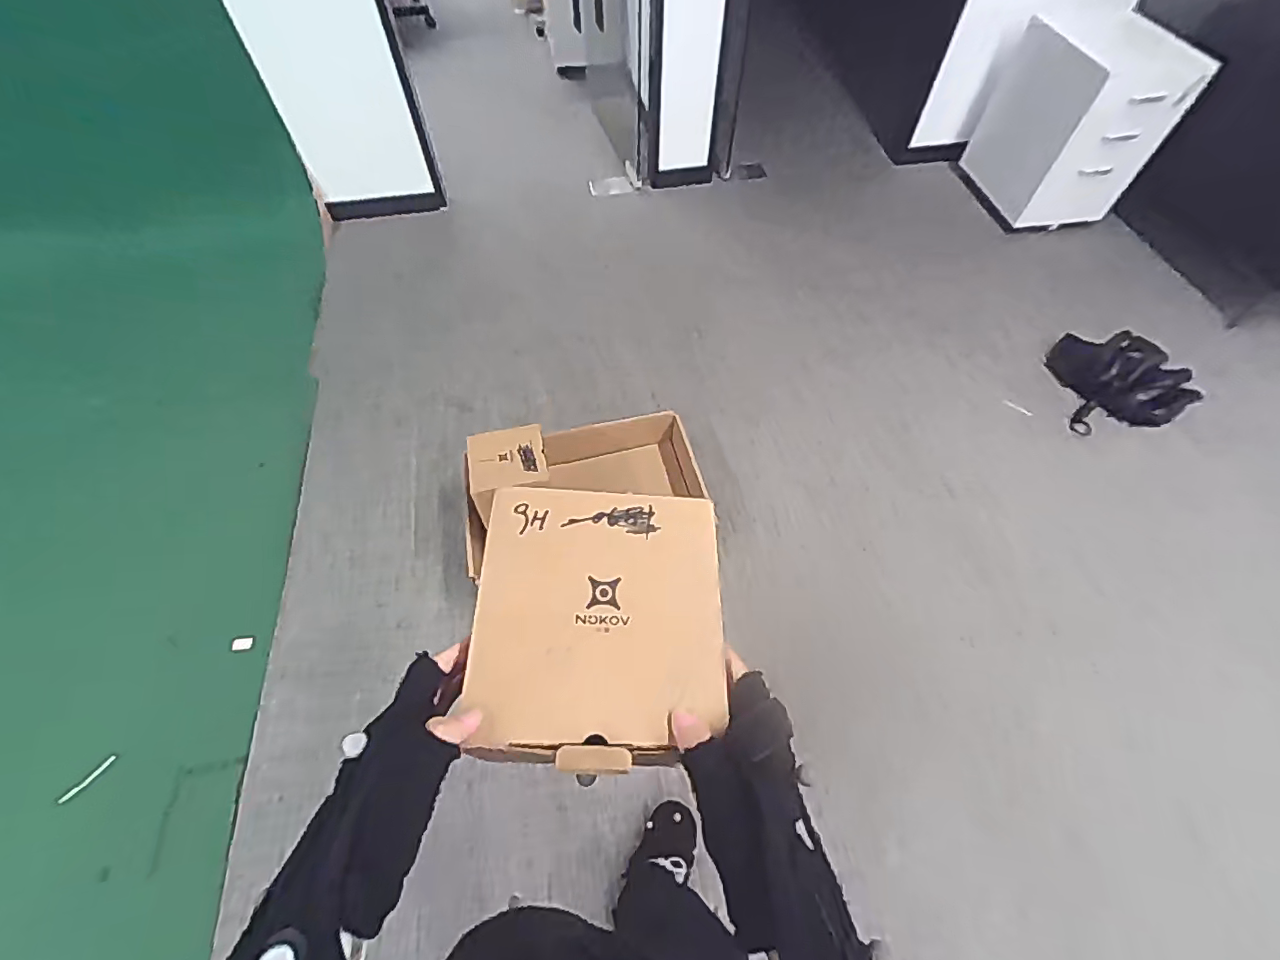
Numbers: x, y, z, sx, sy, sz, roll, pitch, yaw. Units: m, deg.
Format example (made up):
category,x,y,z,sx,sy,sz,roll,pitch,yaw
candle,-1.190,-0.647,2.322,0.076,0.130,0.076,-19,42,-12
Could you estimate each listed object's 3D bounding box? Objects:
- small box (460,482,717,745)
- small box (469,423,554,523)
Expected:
category,x,y,z,sx,sy,sz,roll,pitch,yaw
small box,-0.037,0.120,0.446,0.168,0.176,0.179,4,62,-6
small box,-0.302,-0.013,1.306,0.179,0.176,0.168,-11,58,-7
